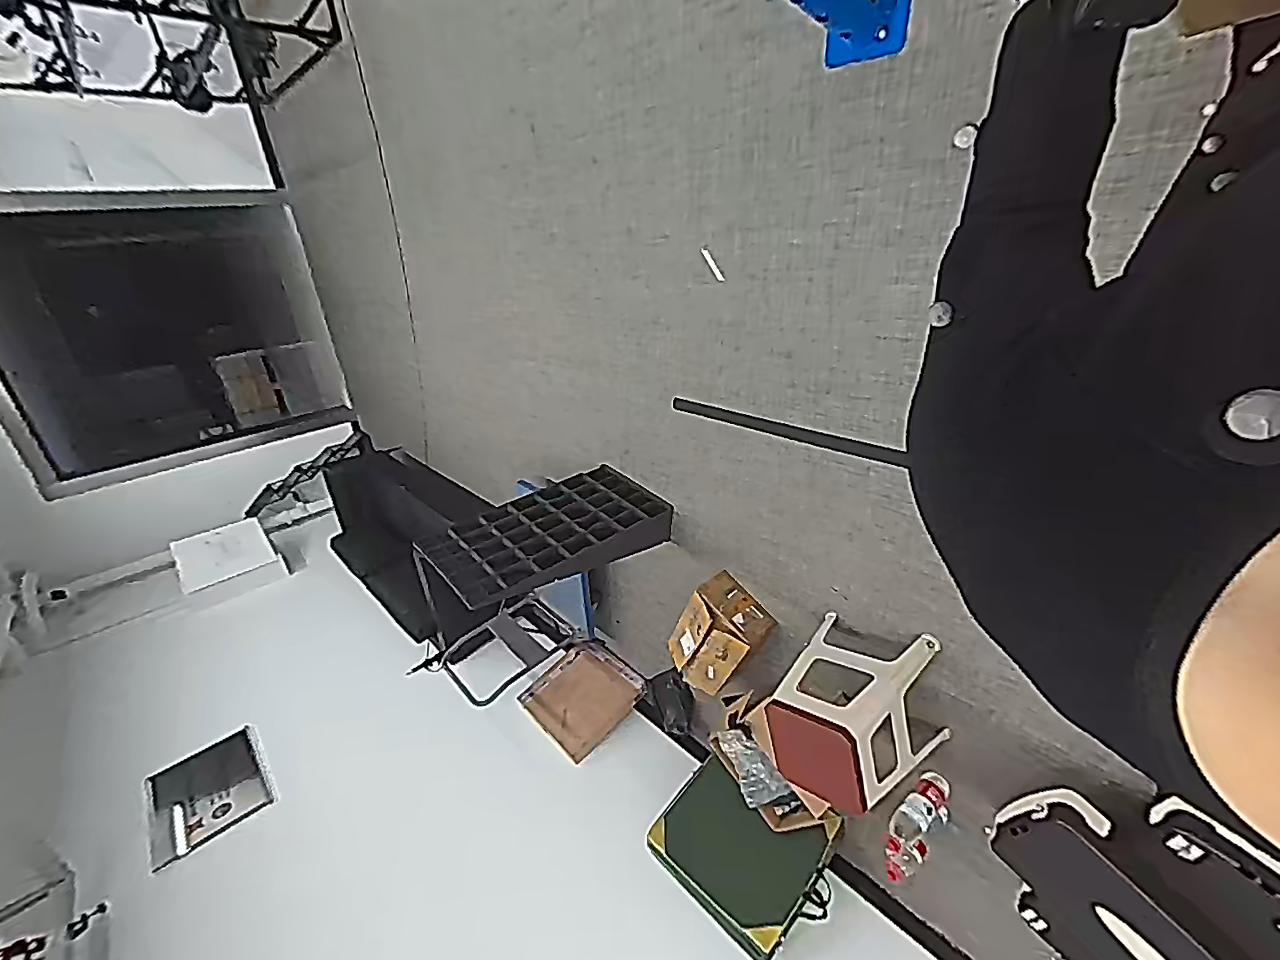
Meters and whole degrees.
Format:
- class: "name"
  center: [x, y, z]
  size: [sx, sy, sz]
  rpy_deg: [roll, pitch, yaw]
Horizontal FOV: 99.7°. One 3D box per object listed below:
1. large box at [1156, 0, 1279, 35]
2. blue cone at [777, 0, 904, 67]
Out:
- class: "large box"
  center: [0.532, -0.490, 0.247]
  size: [0.408, 0.320, 0.320]
  rpy_deg: [14, 121, 44]
- class: "blue cone"
  center: [0.400, -1.037, 1.161]
  size: [0.192, 0.380, 0.193]
  rpy_deg: [27, 129, 42]
